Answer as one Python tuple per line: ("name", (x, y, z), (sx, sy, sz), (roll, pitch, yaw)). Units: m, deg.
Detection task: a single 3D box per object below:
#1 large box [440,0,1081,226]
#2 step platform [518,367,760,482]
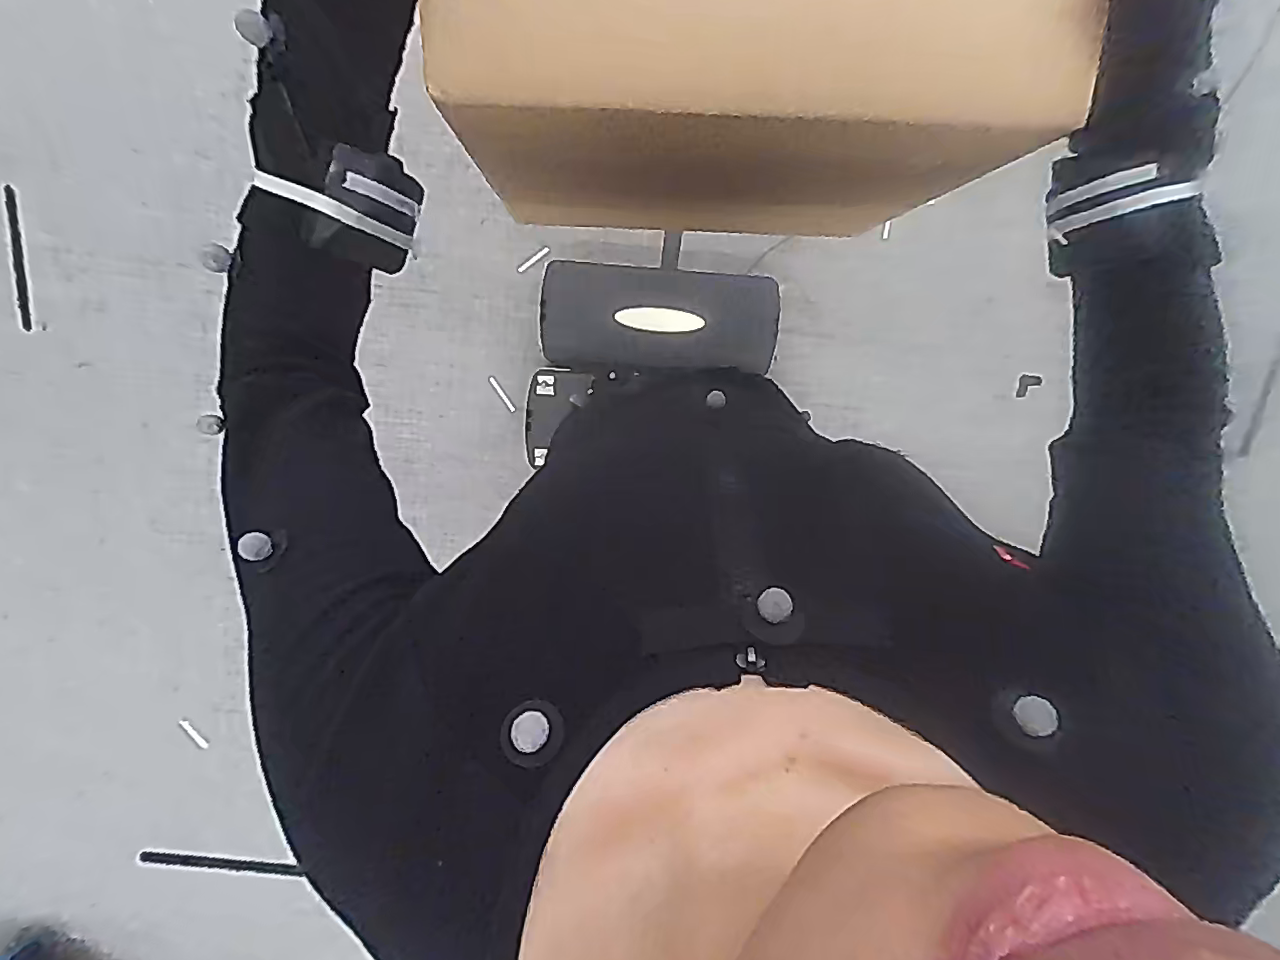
("large box", (0.067, -0.413, 0.452), (0.408, 0.320, 0.320), (-1, 103, -4))
("step platform", (-0.003, -0.161, 1.558), (0.684, 0.204, 0.286), (4, 101, 0))
